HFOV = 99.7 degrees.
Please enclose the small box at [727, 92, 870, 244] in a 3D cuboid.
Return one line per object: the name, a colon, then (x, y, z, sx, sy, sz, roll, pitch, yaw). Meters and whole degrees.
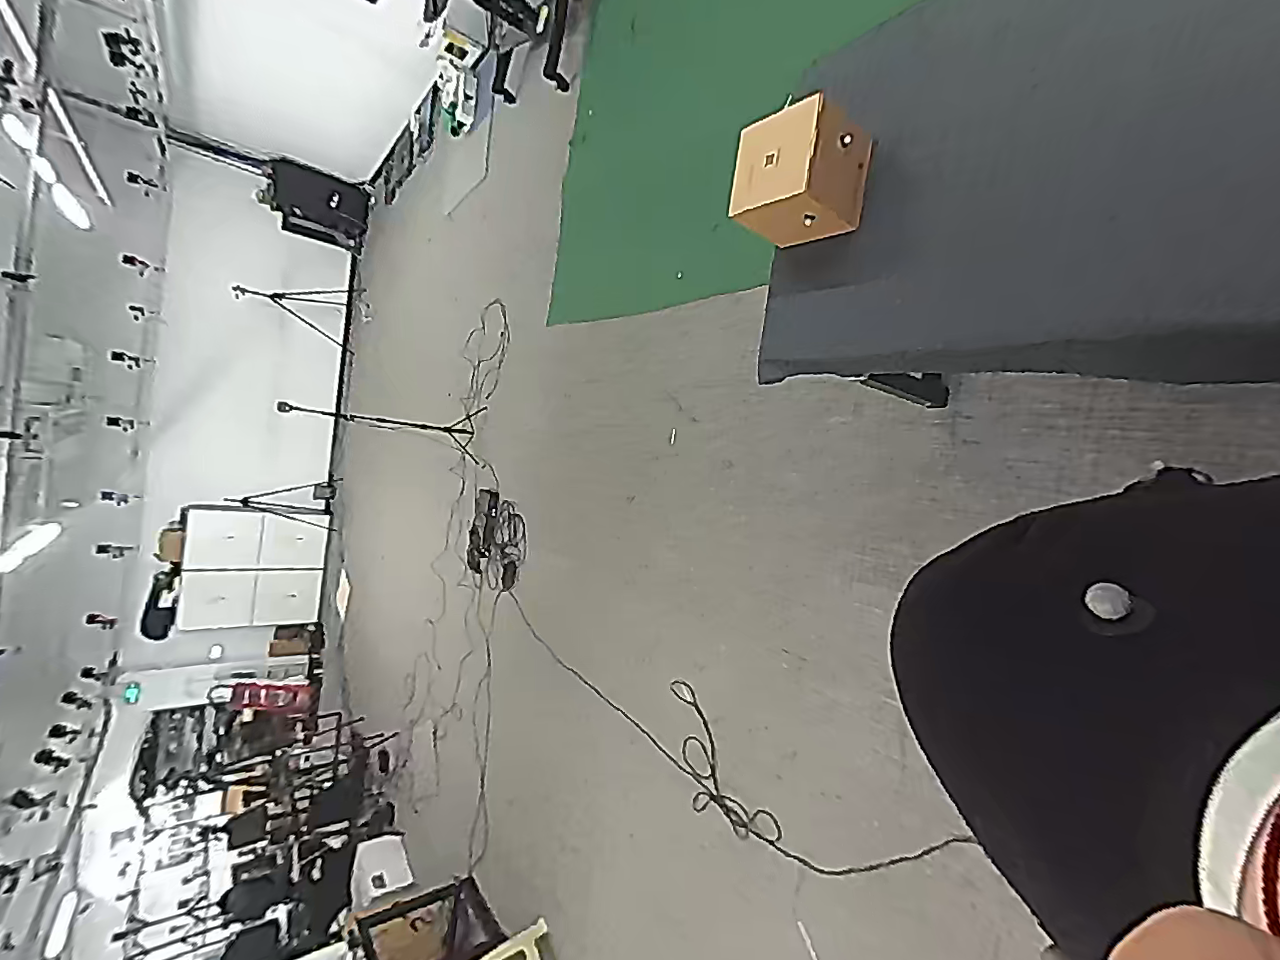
small box: (0.294, -0.557, 0.995, 0.179, 0.176, 0.168, 15, 95, 51)
